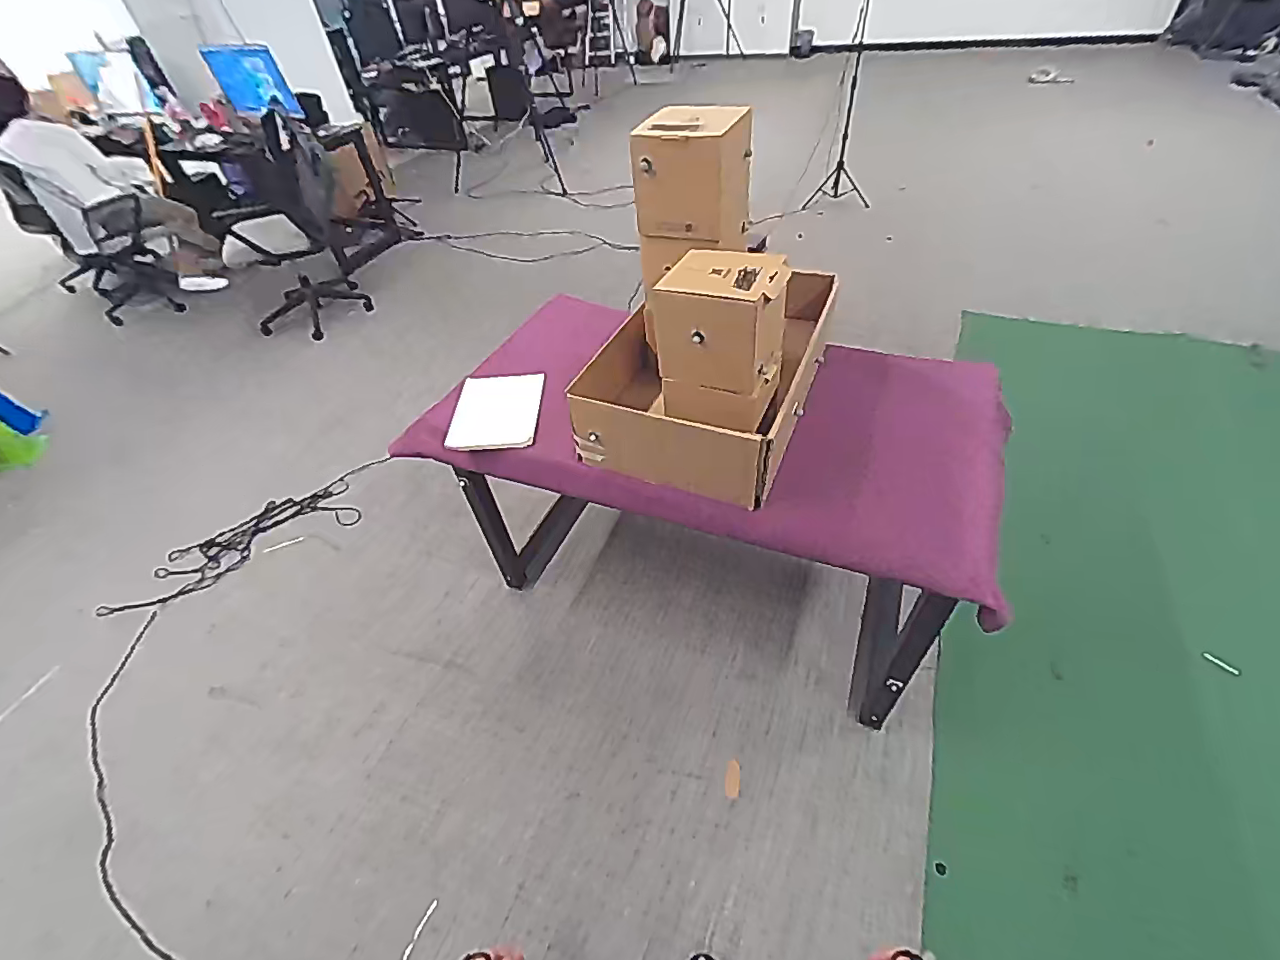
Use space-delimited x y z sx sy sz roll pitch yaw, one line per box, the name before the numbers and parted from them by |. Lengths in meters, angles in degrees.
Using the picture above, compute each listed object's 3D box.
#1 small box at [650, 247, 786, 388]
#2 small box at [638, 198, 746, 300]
small box | 0.137 -0.277 0.926 0.179 0.176 0.168 15 48 23
small box | 0.113 -0.459 1.117 0.168 0.176 0.179 17 51 22
